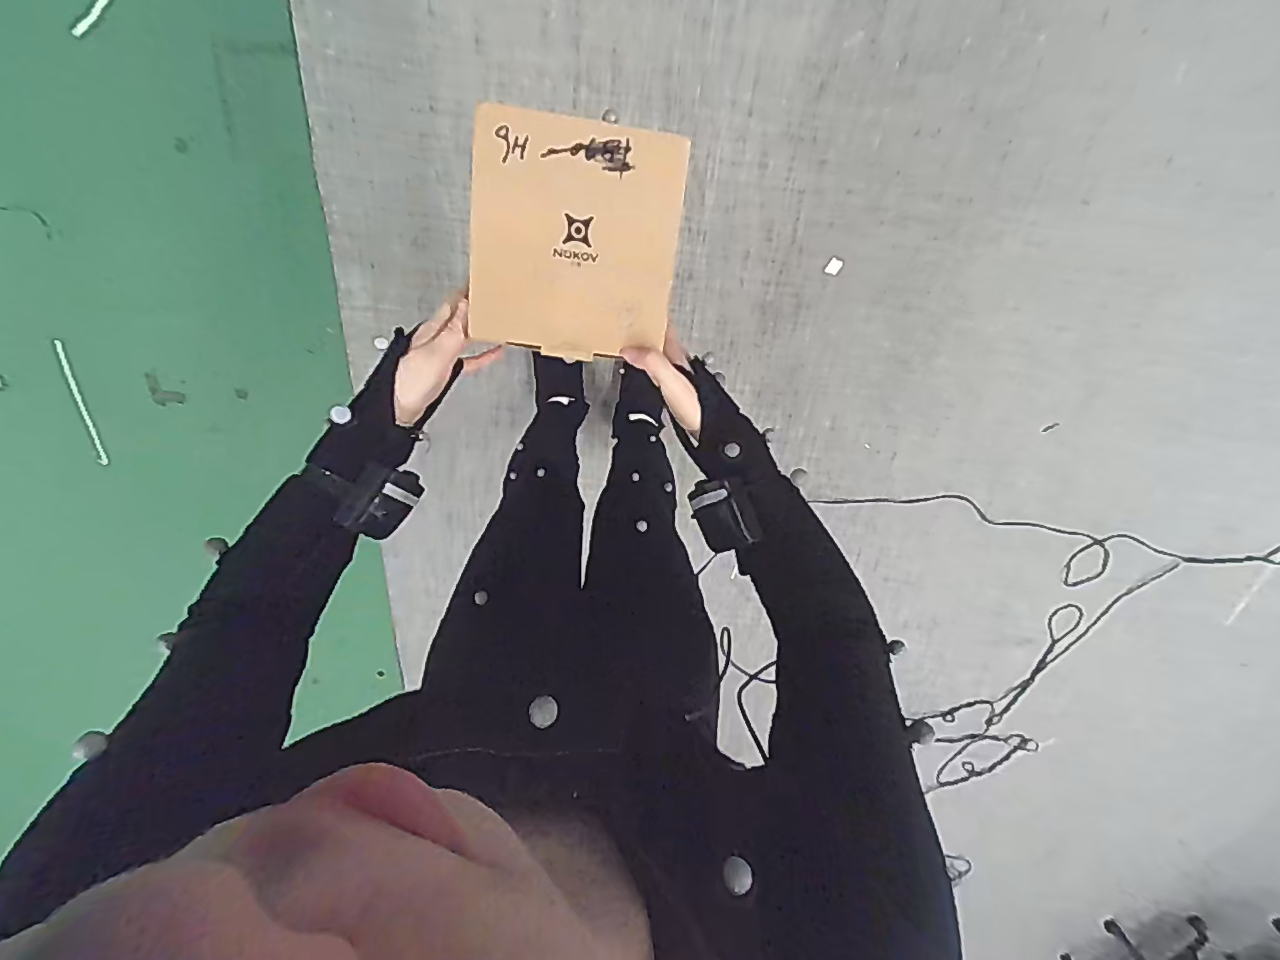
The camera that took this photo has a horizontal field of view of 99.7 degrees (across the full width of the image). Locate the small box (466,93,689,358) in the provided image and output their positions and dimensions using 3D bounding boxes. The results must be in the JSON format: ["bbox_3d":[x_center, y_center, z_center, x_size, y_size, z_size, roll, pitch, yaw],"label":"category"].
[{"bbox_3d":[-0.057,-0.221,0.509,0.168,0.176,0.179,6,108,-5],"label":"small box"}]
